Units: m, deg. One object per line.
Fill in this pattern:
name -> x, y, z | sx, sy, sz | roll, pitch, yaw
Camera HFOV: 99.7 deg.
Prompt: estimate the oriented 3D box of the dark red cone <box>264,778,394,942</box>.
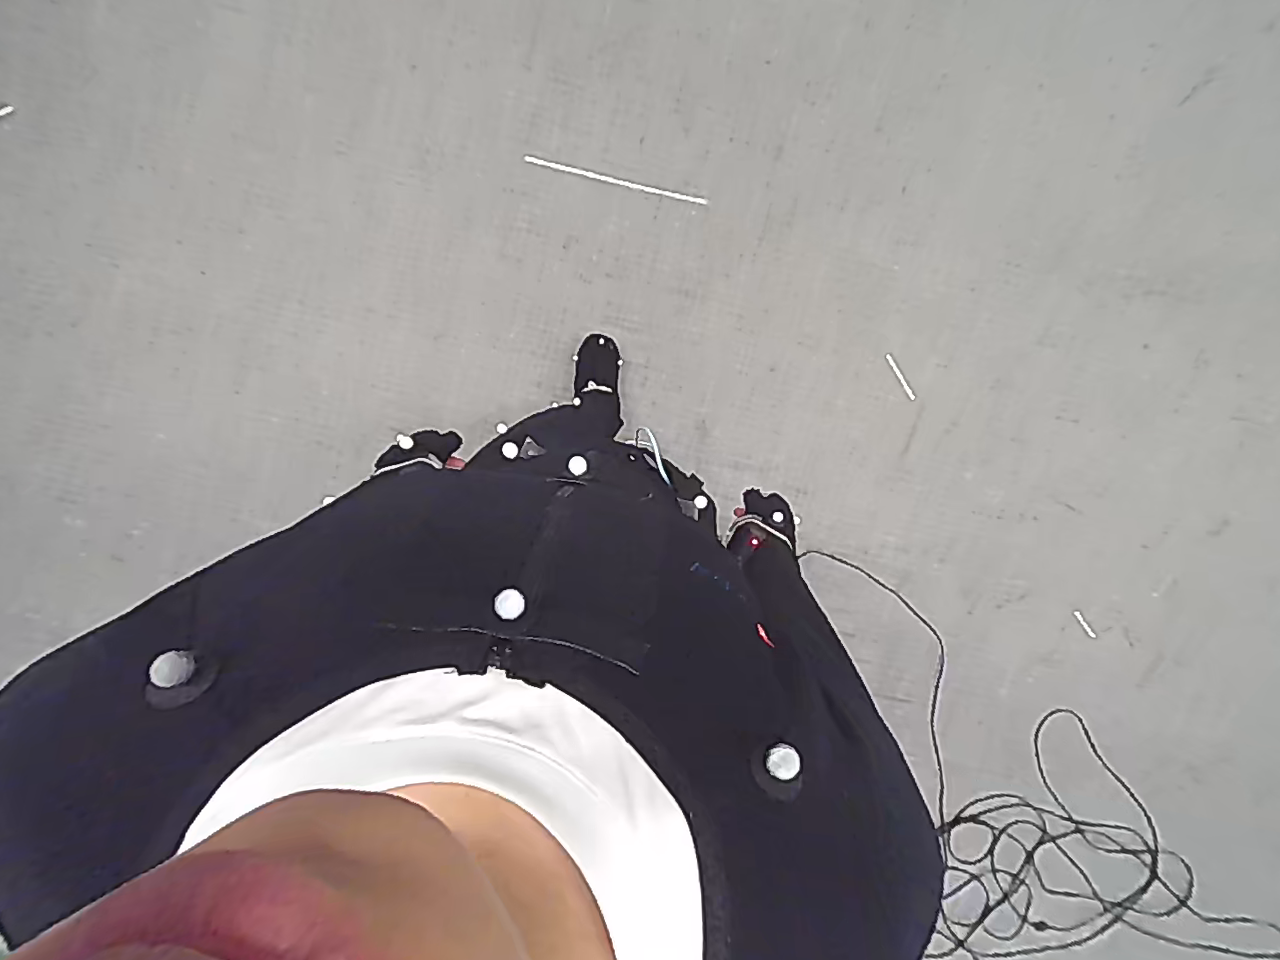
dark red cone -> -0.791, 0.948, 1.347 | 0.202, 0.394, 0.201 | 8, 97, -2
